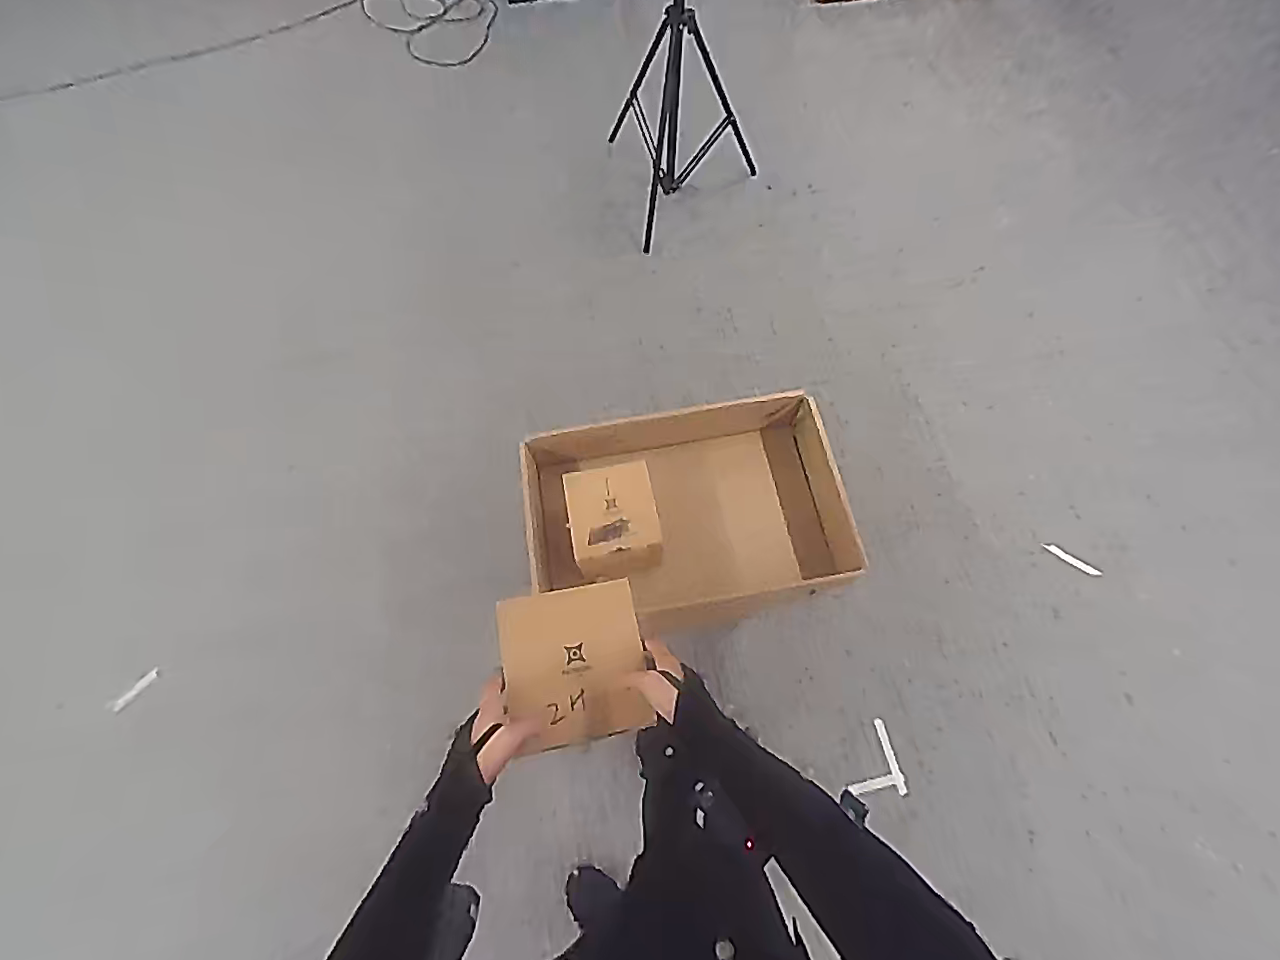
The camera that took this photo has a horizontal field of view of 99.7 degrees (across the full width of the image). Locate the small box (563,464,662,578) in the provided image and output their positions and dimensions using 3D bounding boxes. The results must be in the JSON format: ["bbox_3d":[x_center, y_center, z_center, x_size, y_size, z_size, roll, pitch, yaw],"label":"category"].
[{"bbox_3d":[-0.050,0.091,1.081,0.168,0.176,0.179,-11,67,-3],"label":"small box"}]

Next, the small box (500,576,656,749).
[{"bbox_3d":[-0.087,0.241,0.709,0.168,0.176,0.179,-8,68,-11],"label":"small box"}]
